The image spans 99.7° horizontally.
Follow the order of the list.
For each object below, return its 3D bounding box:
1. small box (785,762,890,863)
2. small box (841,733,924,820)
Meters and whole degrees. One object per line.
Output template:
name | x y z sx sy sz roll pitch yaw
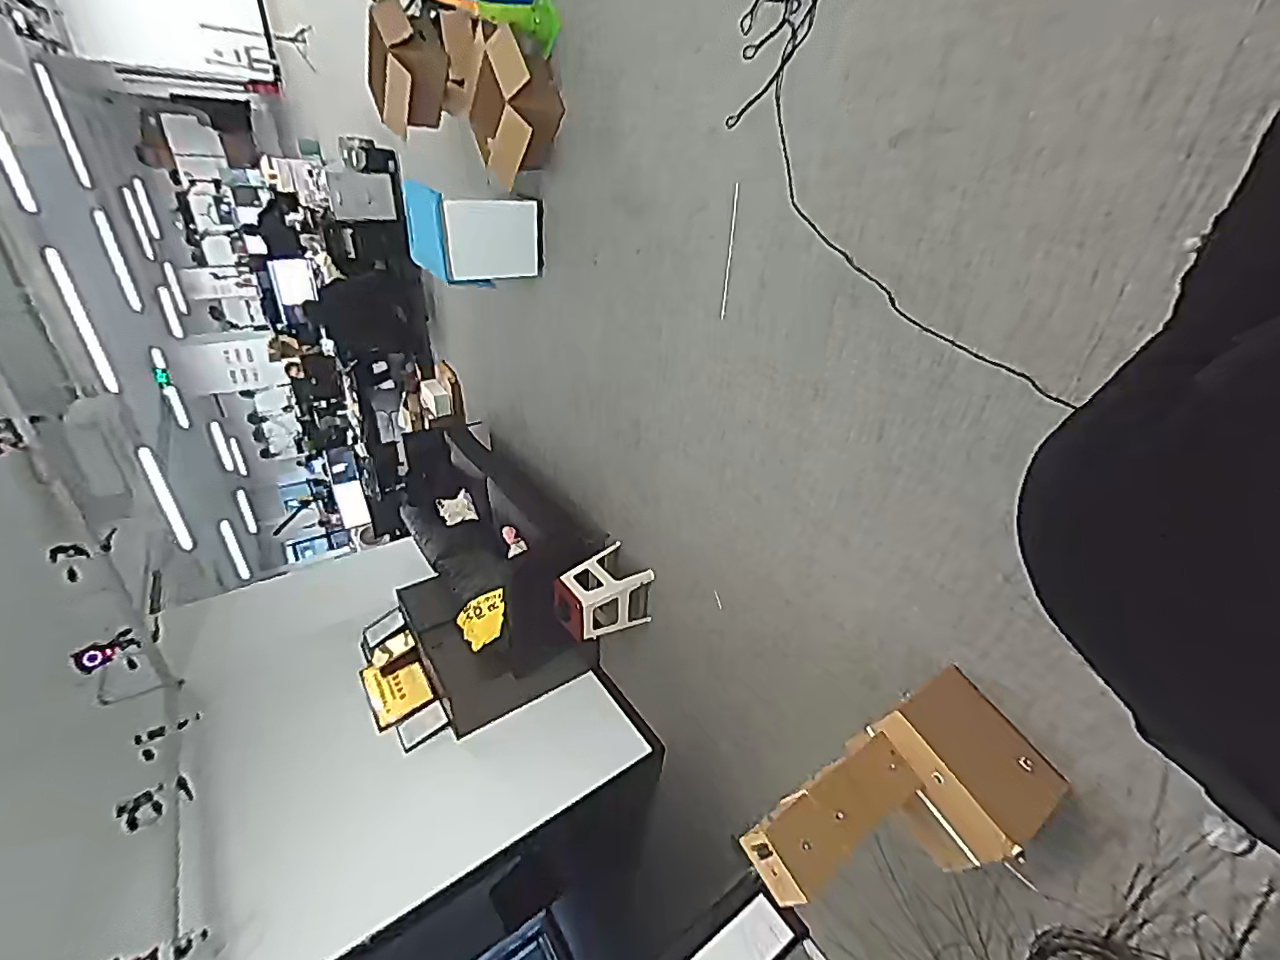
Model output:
small box | 0.547 0.915 1.501 0.179 0.176 0.168 53 145 28
small box | 0.685 0.877 1.578 0.168 0.176 0.179 52 145 29
